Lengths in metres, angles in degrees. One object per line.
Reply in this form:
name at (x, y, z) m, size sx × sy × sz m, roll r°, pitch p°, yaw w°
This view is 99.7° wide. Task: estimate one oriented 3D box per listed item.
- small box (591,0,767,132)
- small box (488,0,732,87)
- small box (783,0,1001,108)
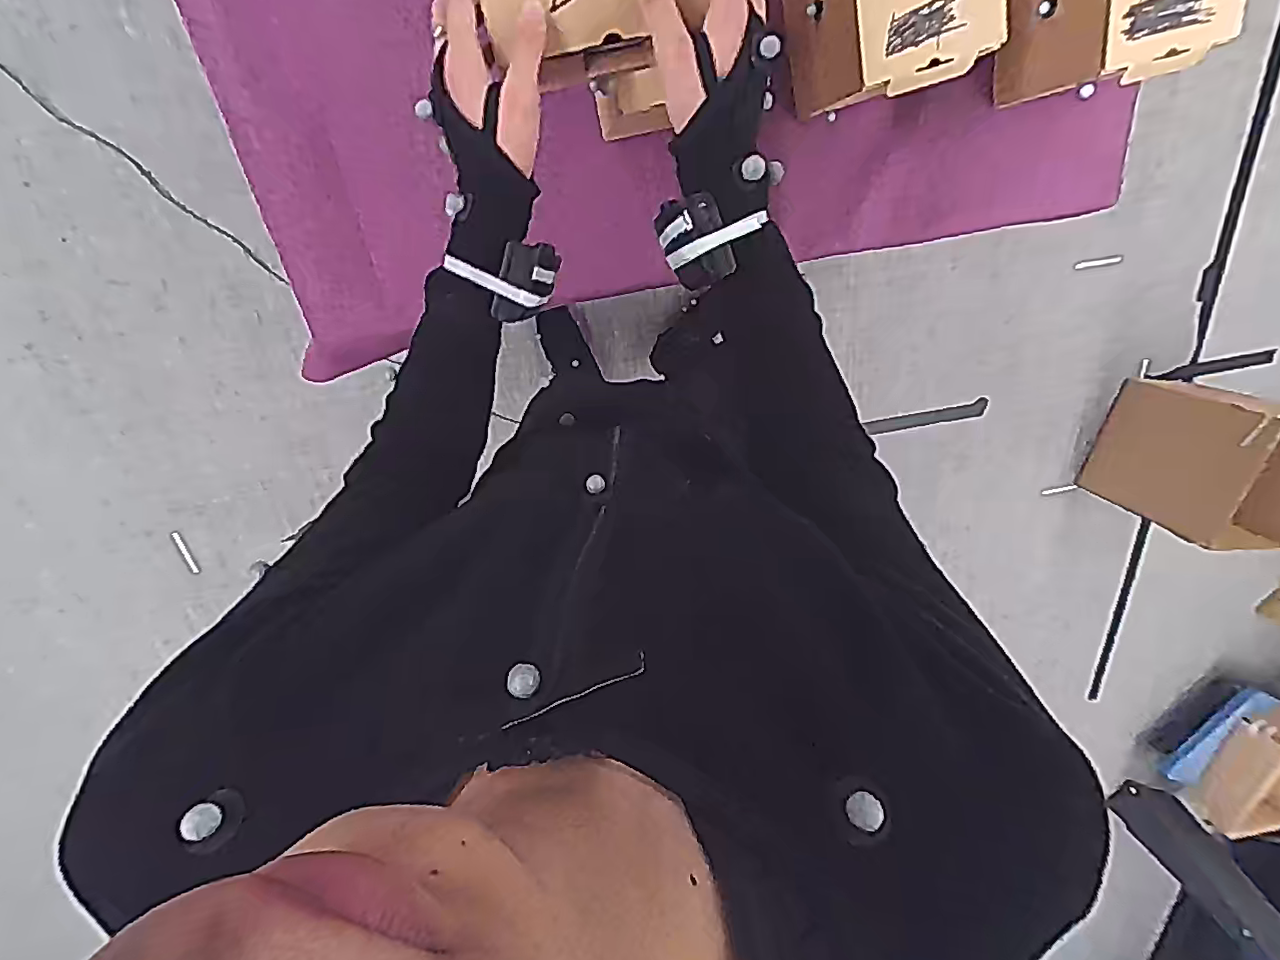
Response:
small box at (0.028, -0.505, 0.597) m, size 0.168 × 0.176 × 0.179 m, roll -14°, pitch 115°, yaw -4°
small box at (-0.038, -0.417, 0.398) m, size 0.168 × 0.176 × 0.179 m, roll -11°, pitch 121°, yaw 0°
small box at (0.276, -0.553, 0.618) m, size 0.168 × 0.176 × 0.179 m, roll -19°, pitch 115°, yaw -1°
